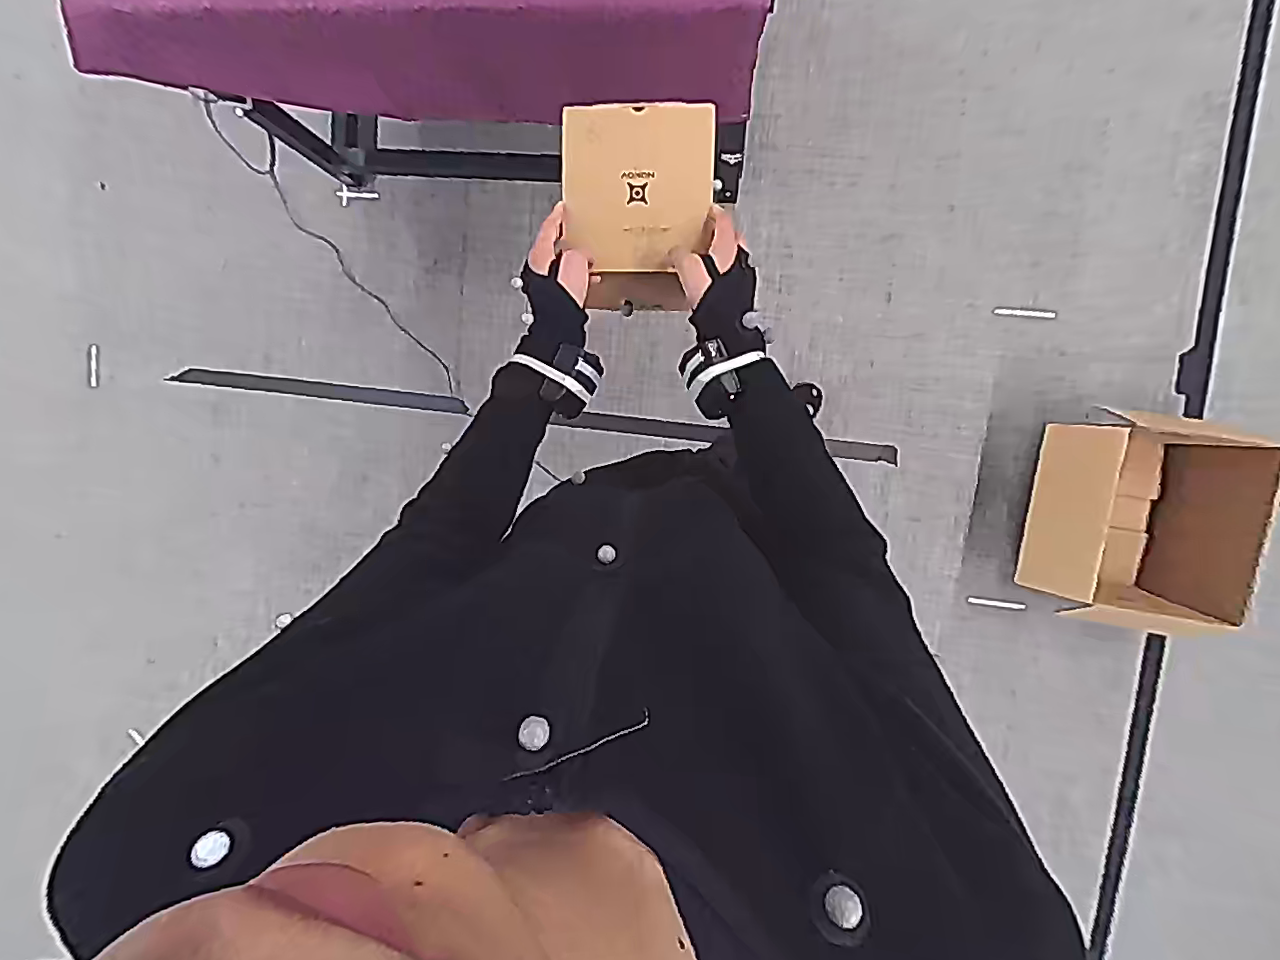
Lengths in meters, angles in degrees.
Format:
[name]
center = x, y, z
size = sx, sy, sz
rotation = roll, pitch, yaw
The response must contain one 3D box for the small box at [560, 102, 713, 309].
[small box]
center = -0.002, -0.324, 0.667
size = 0.168, 0.176, 0.179
rotation = 1, 93, 3
